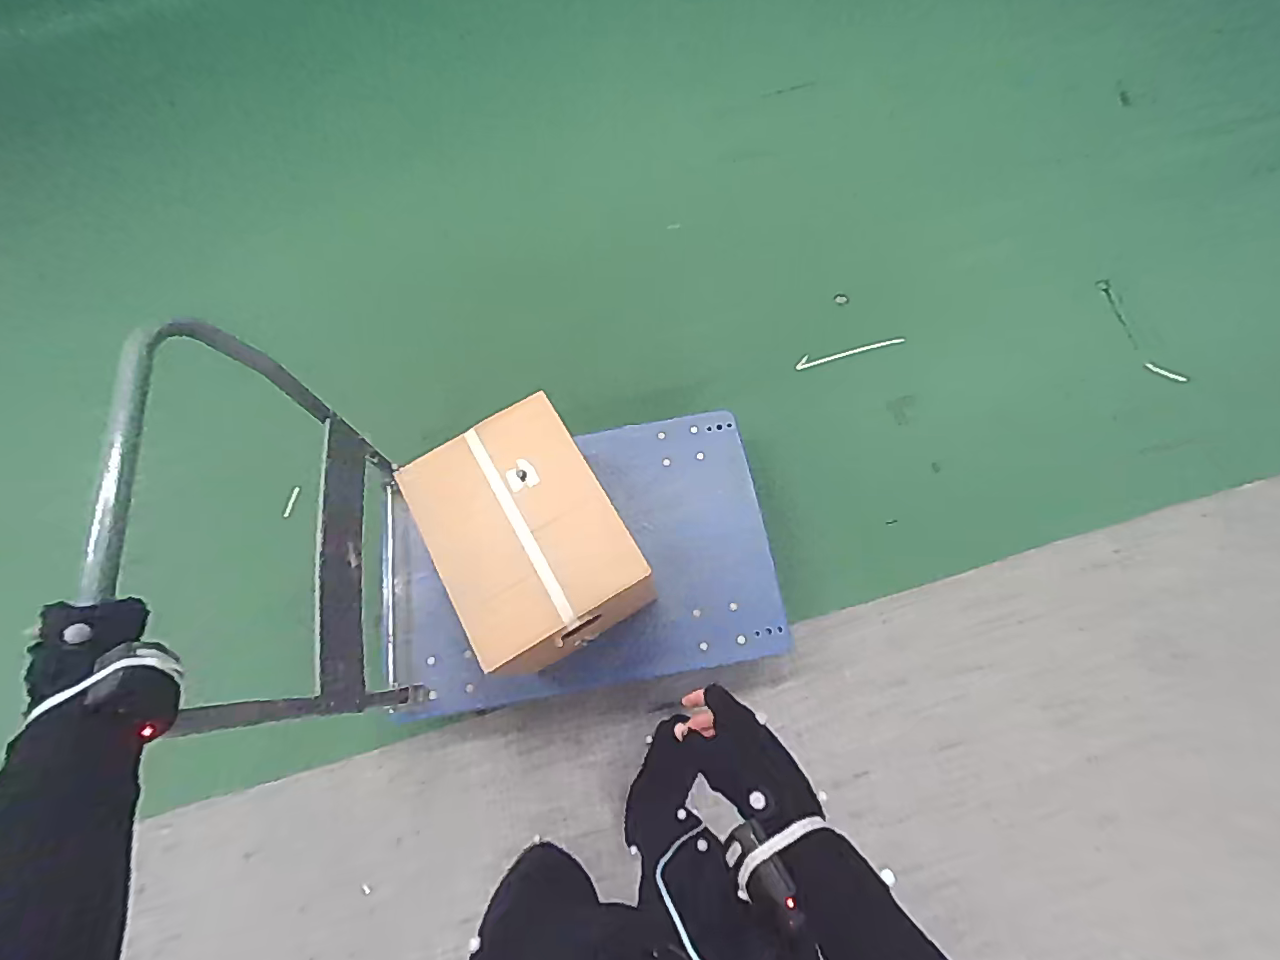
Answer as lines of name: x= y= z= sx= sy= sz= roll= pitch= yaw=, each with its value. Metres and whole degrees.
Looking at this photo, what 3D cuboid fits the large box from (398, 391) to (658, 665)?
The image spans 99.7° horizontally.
large box: x=-0.200 y=0.111 z=1.081 sx=0.320 sy=0.320 sz=0.408 roll=-30 pitch=71 yaw=-6
